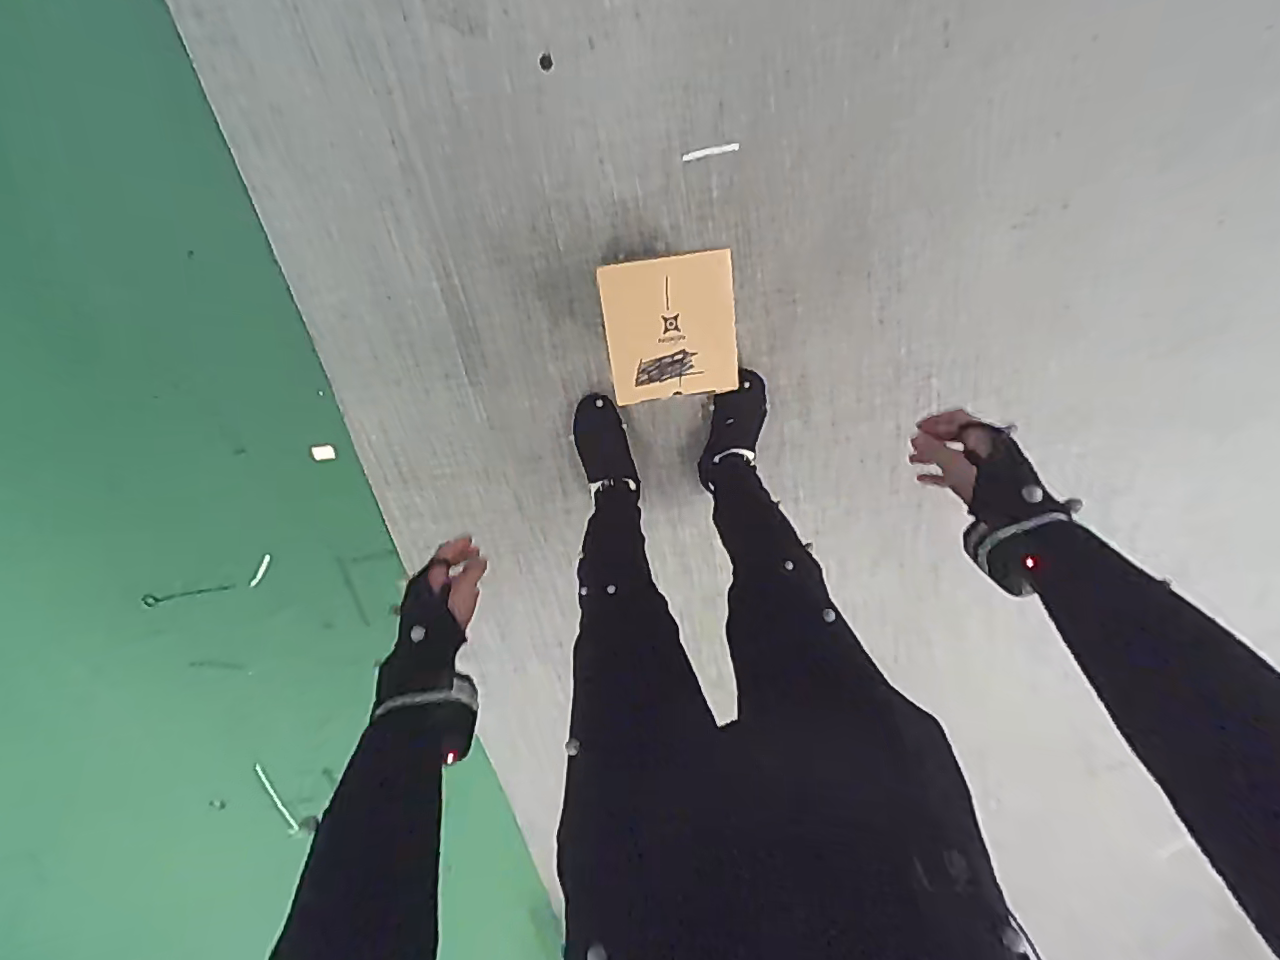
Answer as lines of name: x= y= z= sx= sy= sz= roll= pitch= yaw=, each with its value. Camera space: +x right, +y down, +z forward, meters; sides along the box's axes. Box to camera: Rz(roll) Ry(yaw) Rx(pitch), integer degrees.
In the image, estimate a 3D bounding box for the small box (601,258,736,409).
small box: x=0.039 y=-0.217 z=0.780 sx=0.168 sy=0.176 sz=0.179 roll=-8 pitch=112 yaw=0
